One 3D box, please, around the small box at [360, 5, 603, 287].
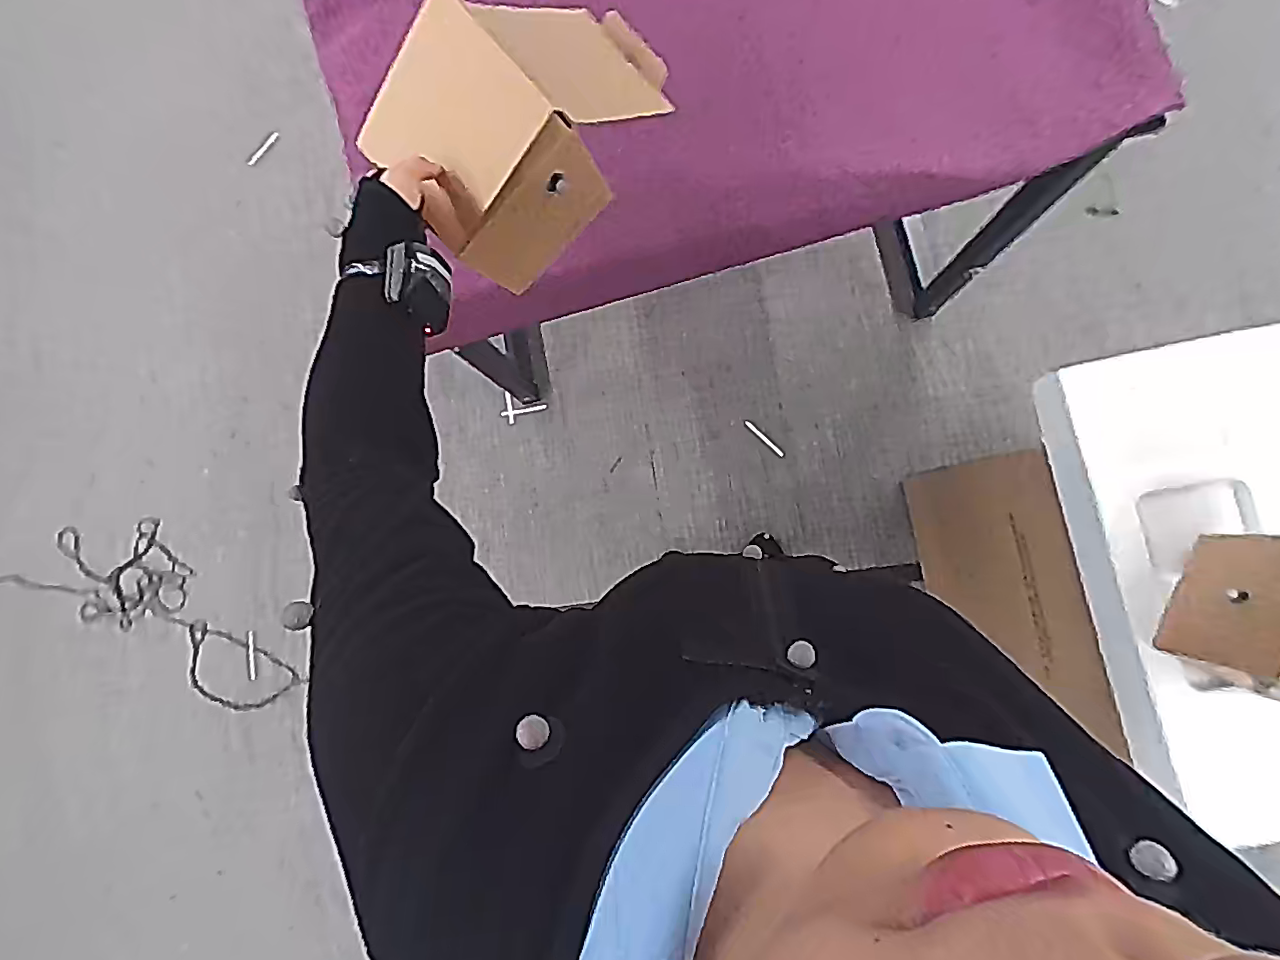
[{"bbox_3d":[-0.160,-0.353,0.613,0.179,0.176,0.168,-40,86,14],"label":"small box"}]
